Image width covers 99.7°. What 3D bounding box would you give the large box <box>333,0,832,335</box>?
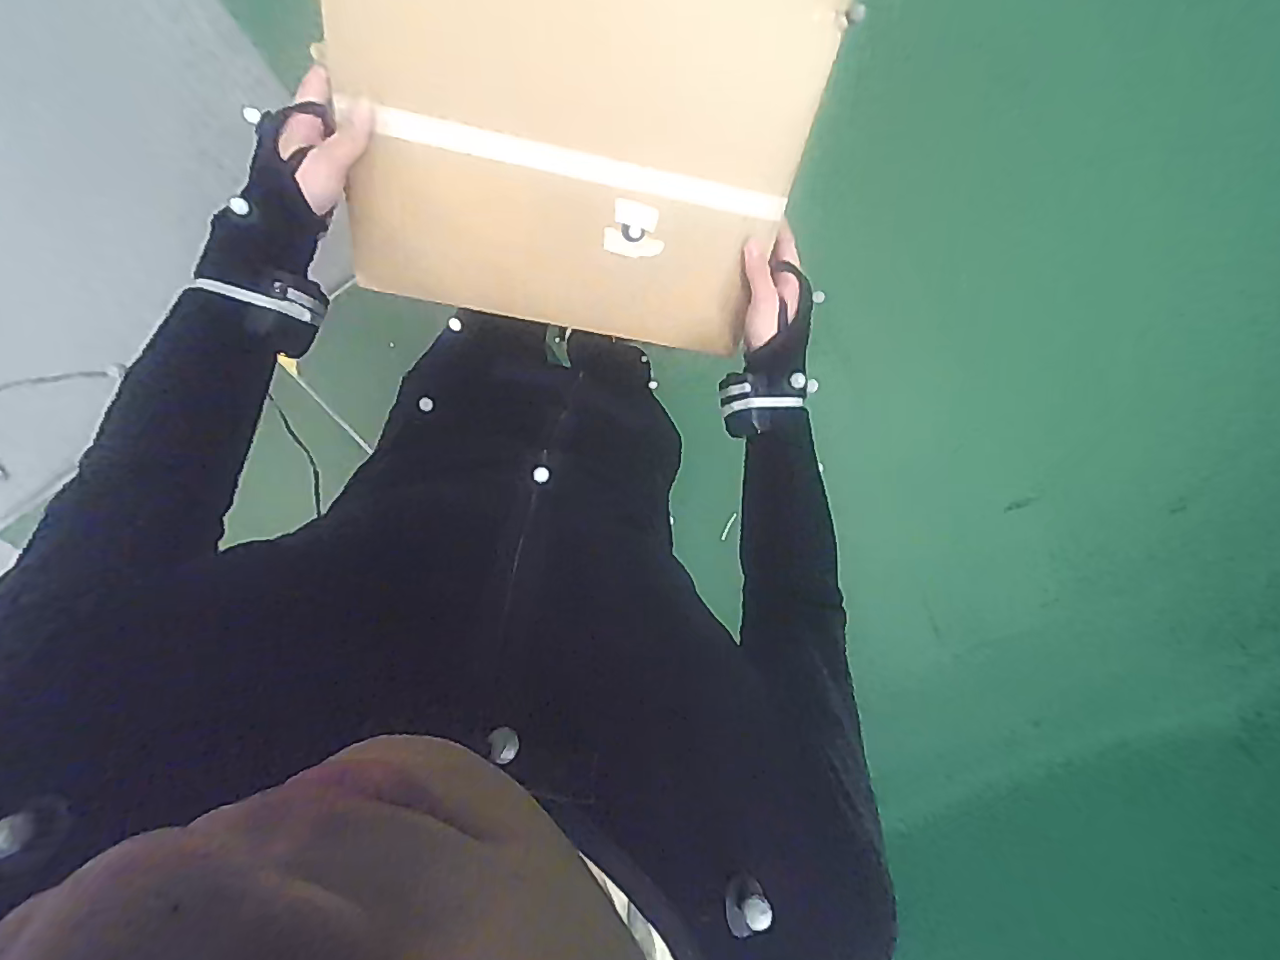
[{"bbox_3d":[-0.068,-0.396,0.617,0.408,0.320,0.320,7,129,-8],"label":"large box"}]
